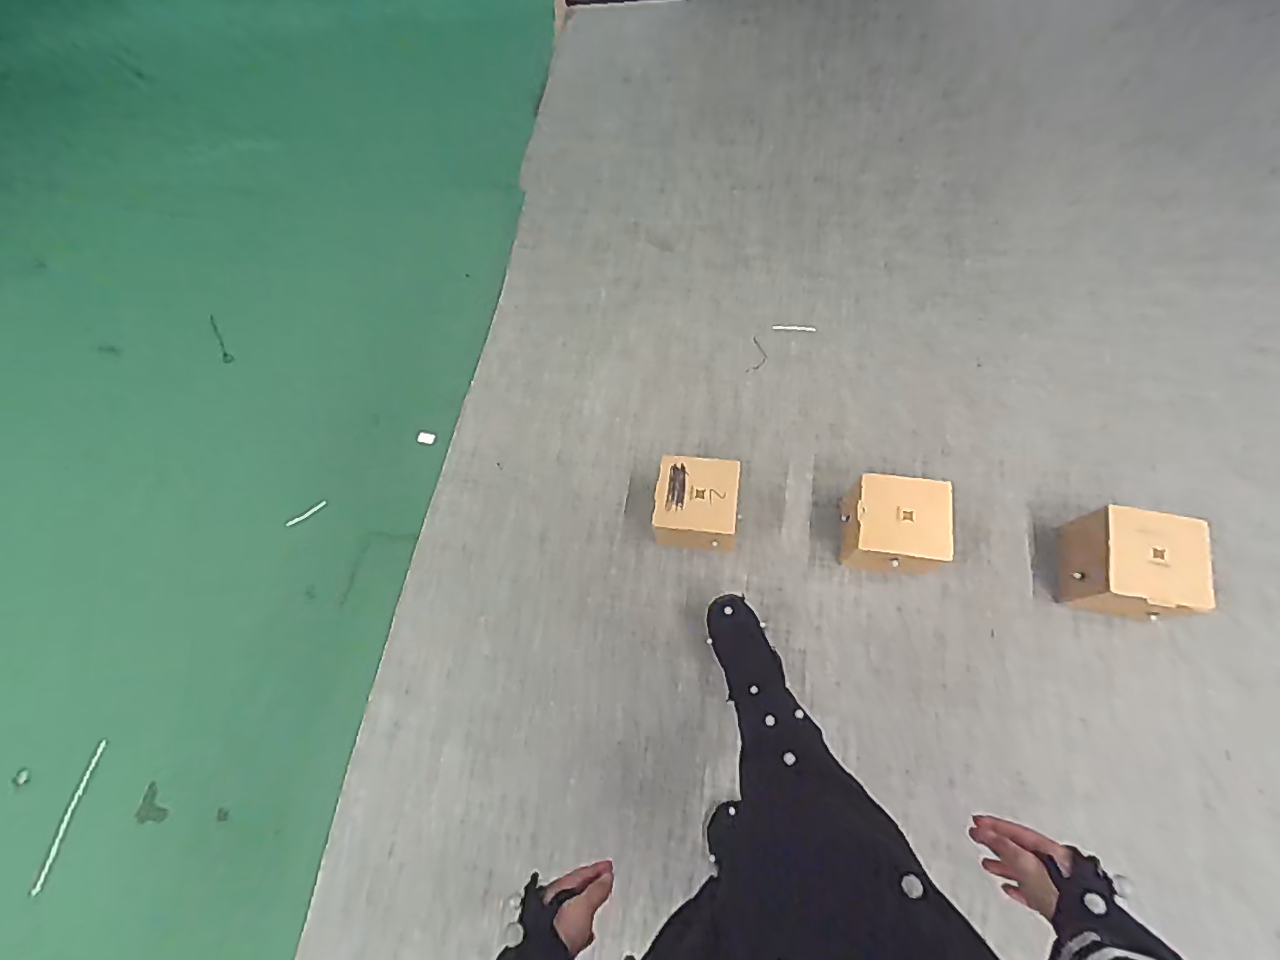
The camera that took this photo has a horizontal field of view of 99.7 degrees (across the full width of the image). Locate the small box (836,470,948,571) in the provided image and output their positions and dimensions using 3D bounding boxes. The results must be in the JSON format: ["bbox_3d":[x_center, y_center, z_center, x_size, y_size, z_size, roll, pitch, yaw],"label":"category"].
[{"bbox_3d":[0.529,0.092,1.151,0.179,0.176,0.168,6,71,11],"label":"small box"}]

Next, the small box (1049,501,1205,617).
[{"bbox_3d":[0.946,0.162,1.068,0.168,0.176,0.179,11,71,10],"label":"small box"}]
